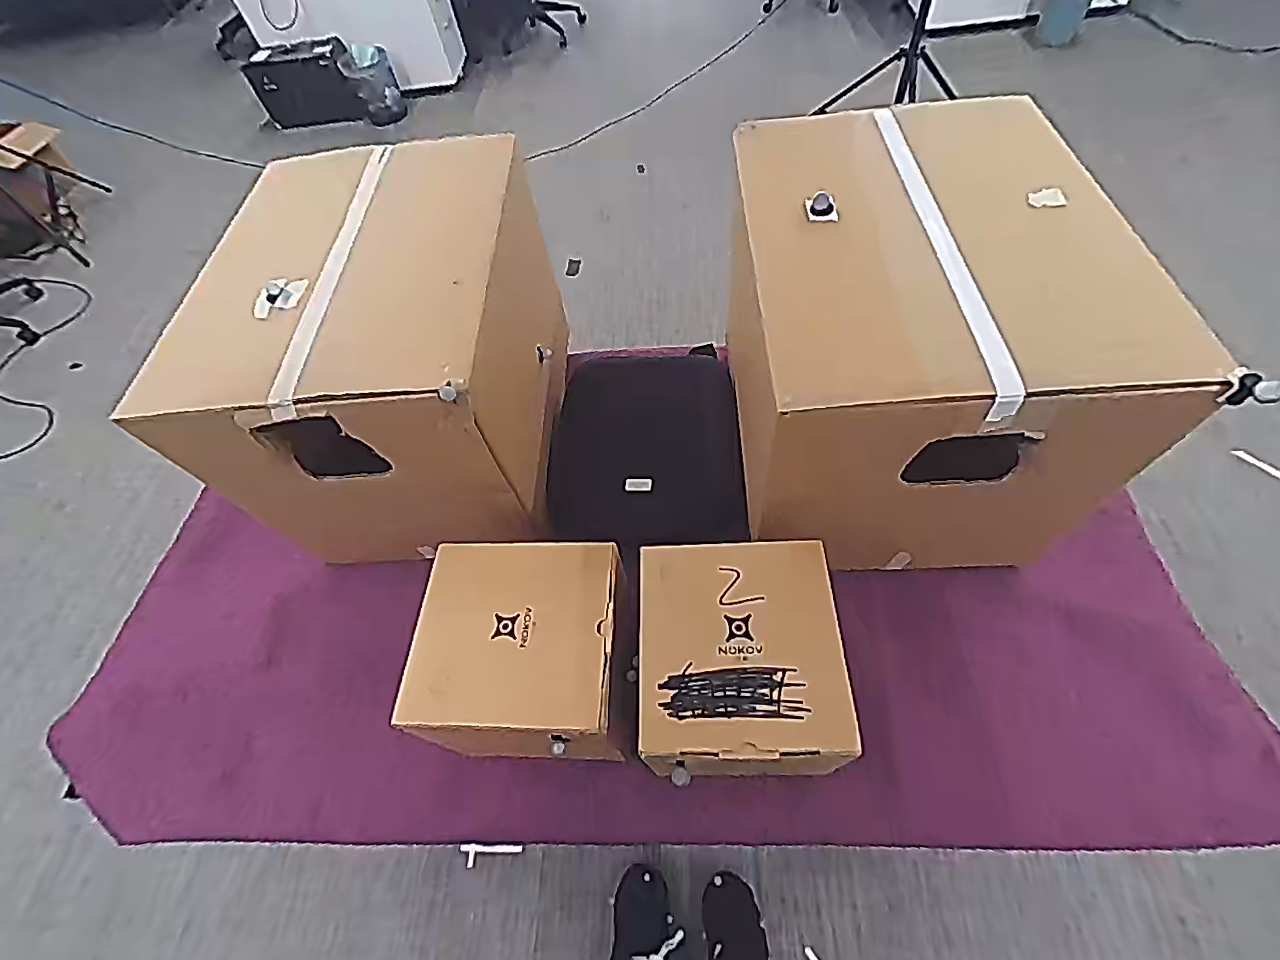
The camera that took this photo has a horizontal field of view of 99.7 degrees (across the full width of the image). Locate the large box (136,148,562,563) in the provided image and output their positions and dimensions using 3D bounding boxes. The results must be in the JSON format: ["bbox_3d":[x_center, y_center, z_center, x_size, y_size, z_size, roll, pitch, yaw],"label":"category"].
[{"bbox_3d":[-0.281,-0.143,0.684,0.320,0.320,0.408,-5,59,4],"label":"large box"}]
